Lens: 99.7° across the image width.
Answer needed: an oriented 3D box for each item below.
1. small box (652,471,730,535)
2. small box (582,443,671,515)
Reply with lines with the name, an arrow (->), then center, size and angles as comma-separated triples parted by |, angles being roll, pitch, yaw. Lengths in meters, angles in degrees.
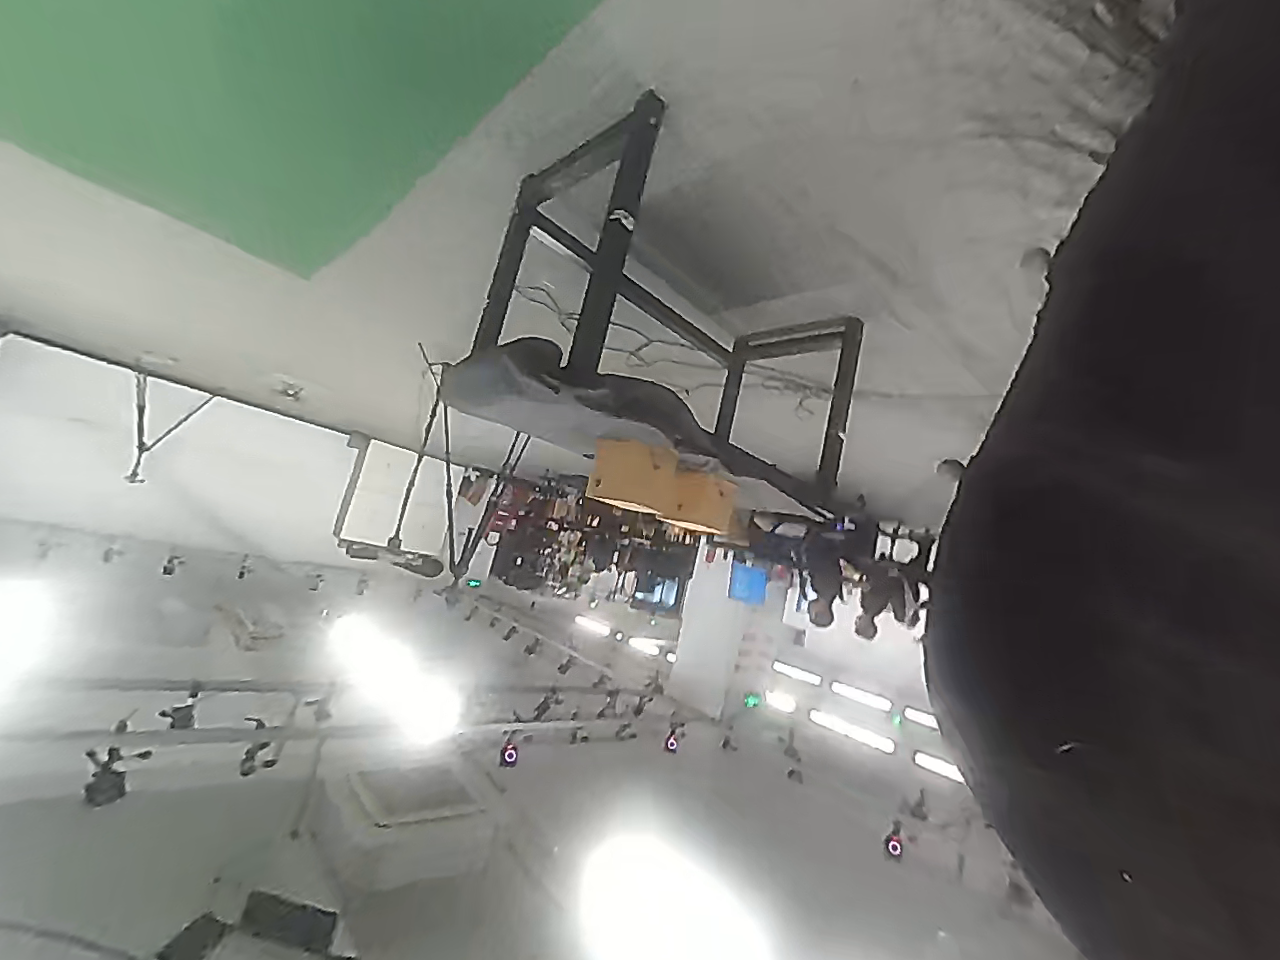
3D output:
small box -> 0.169, 0.071, 1.757 | 0.179, 0.176, 0.168 | 4, 167, 45
small box -> -0.036, -0.006, 1.555 | 0.179, 0.176, 0.168 | 5, 168, 45
